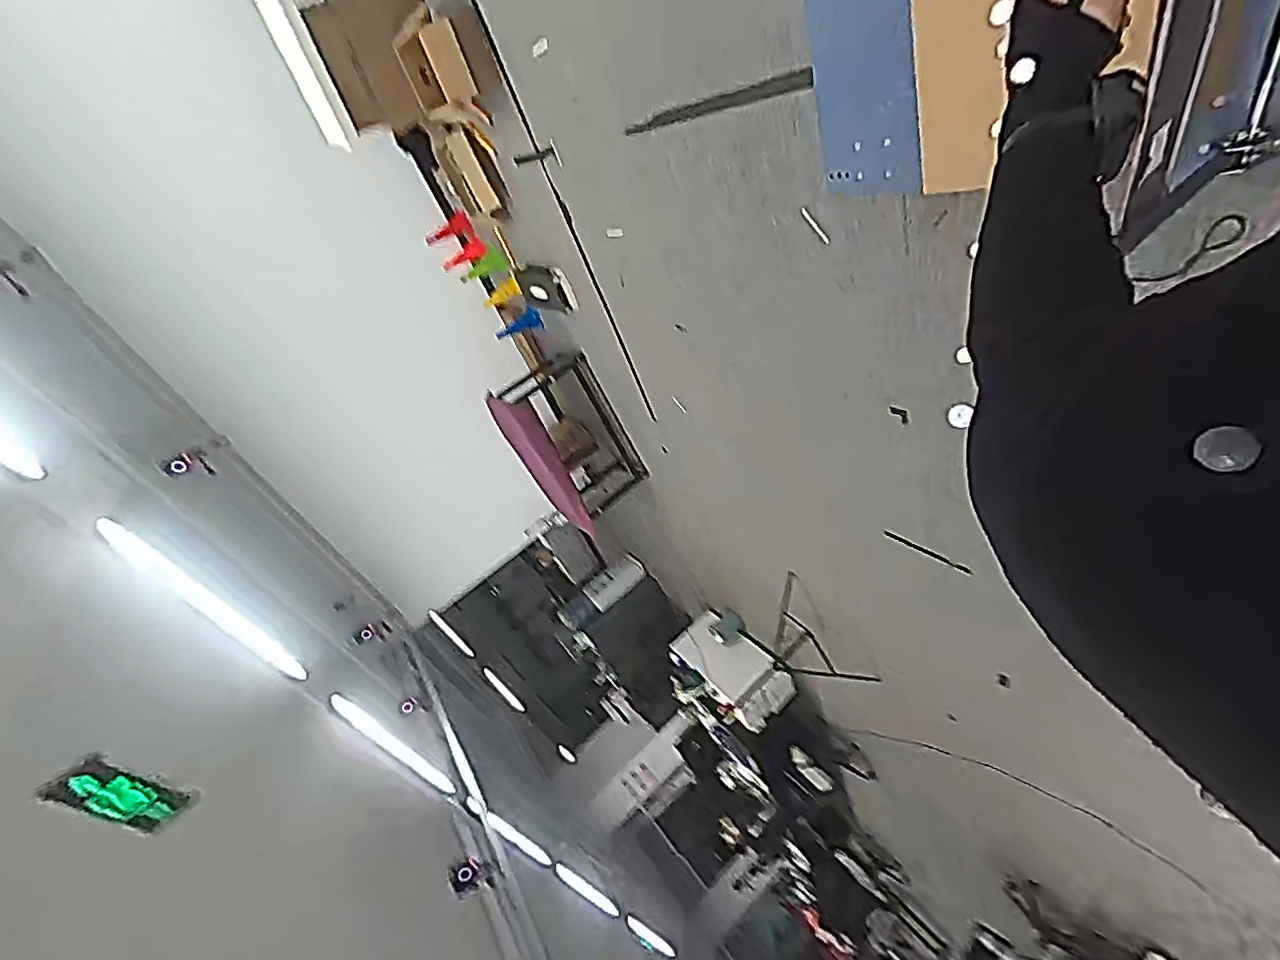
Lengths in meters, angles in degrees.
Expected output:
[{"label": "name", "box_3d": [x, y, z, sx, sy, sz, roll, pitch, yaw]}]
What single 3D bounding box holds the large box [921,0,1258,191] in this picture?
[{"label": "large box", "box_3d": [0.660, -0.713, 0.804, 0.320, 0.320, 0.408, 28, 149, 51]}]
